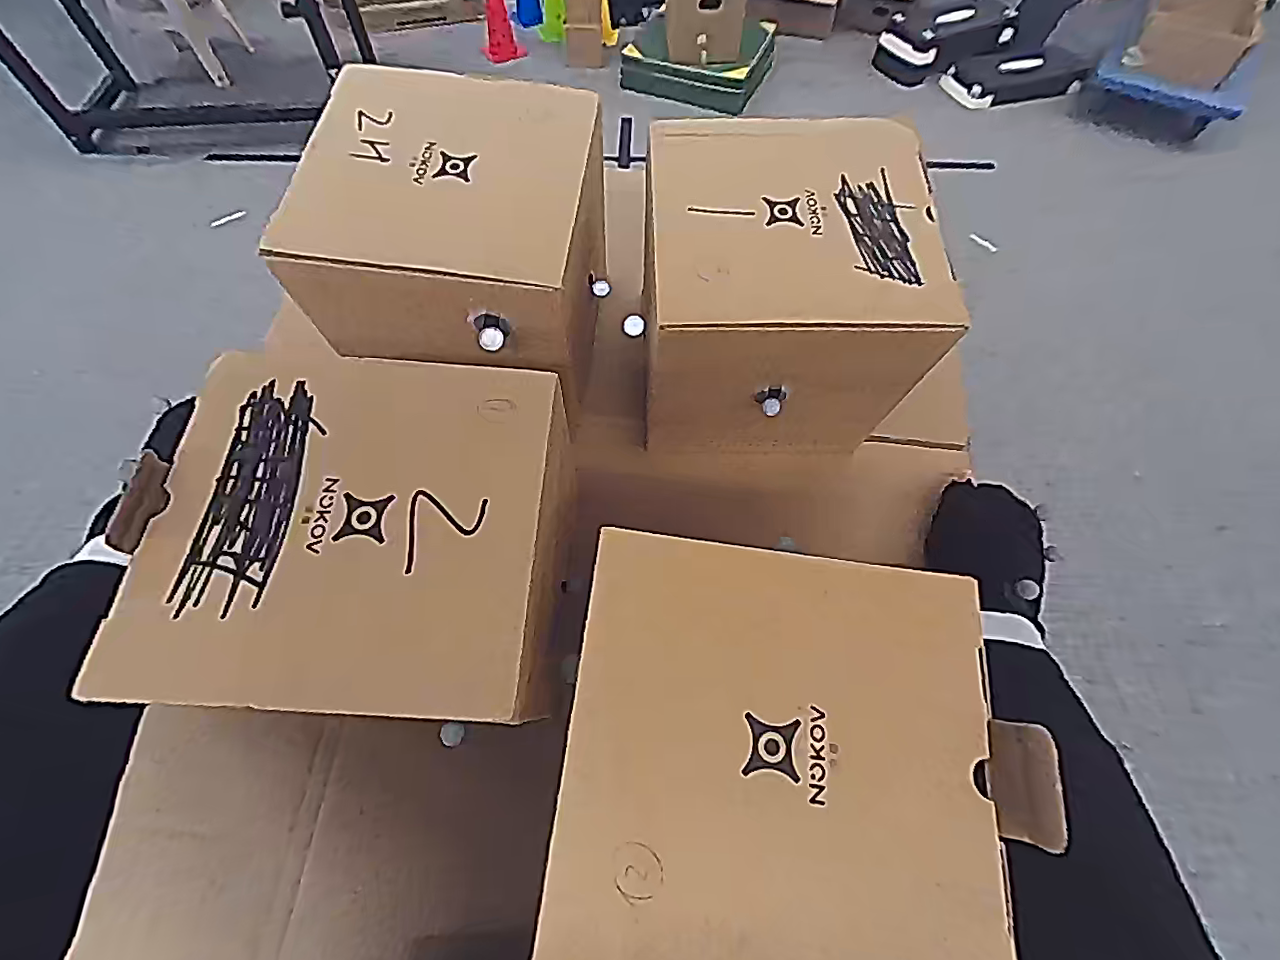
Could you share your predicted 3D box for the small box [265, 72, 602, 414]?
[{"bbox_3d":[-0.126,-0.165,0.417,0.179,0.176,0.168,7,69,1],"label":"small box"}]
